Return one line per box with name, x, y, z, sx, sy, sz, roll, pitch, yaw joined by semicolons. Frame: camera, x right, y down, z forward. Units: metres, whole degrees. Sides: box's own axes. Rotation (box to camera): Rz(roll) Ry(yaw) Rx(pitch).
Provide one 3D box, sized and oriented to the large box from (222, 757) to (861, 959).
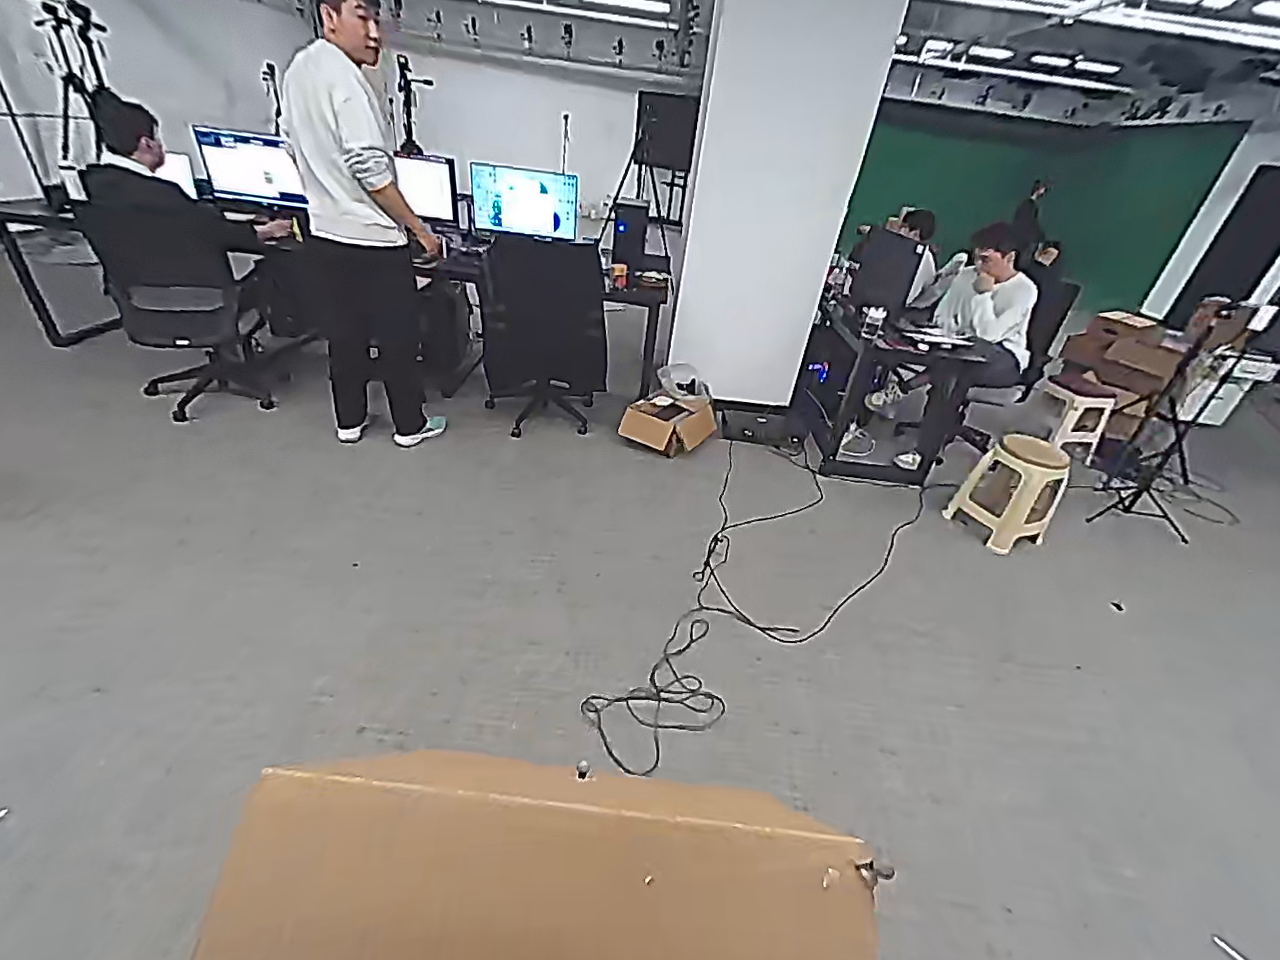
large box;-0.070;0.419;0.443;0.408;0.320;0.320;6;67;1
